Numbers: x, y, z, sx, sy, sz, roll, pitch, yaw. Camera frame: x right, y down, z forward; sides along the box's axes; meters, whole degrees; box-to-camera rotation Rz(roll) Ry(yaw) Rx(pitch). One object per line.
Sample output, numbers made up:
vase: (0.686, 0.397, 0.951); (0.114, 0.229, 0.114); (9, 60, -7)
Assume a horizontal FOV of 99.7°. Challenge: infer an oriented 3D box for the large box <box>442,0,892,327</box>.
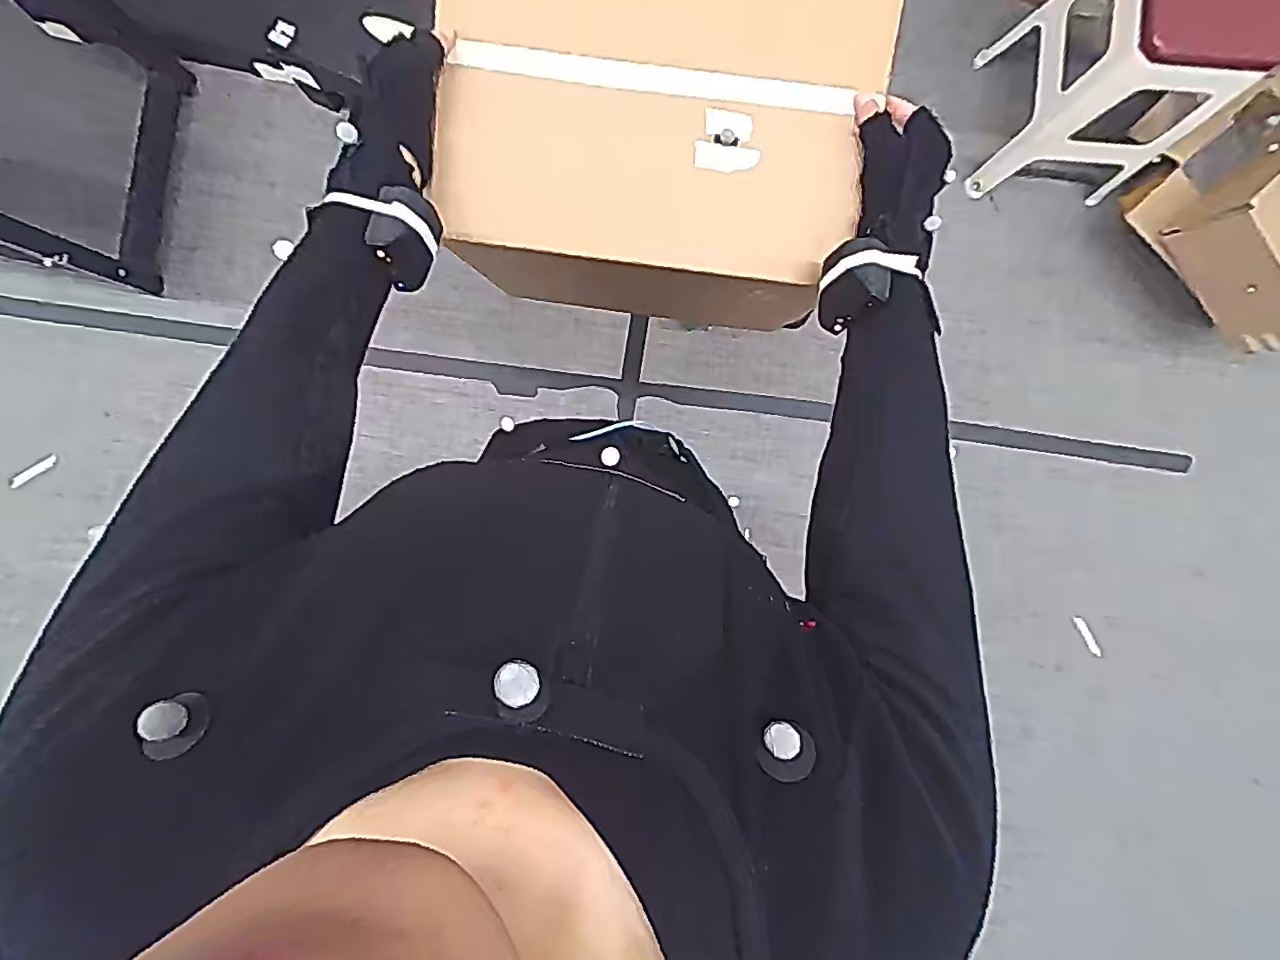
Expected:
large box: (0.019, -0.380, 0.647); (0.408, 0.320, 0.320); (7, 99, -1)
